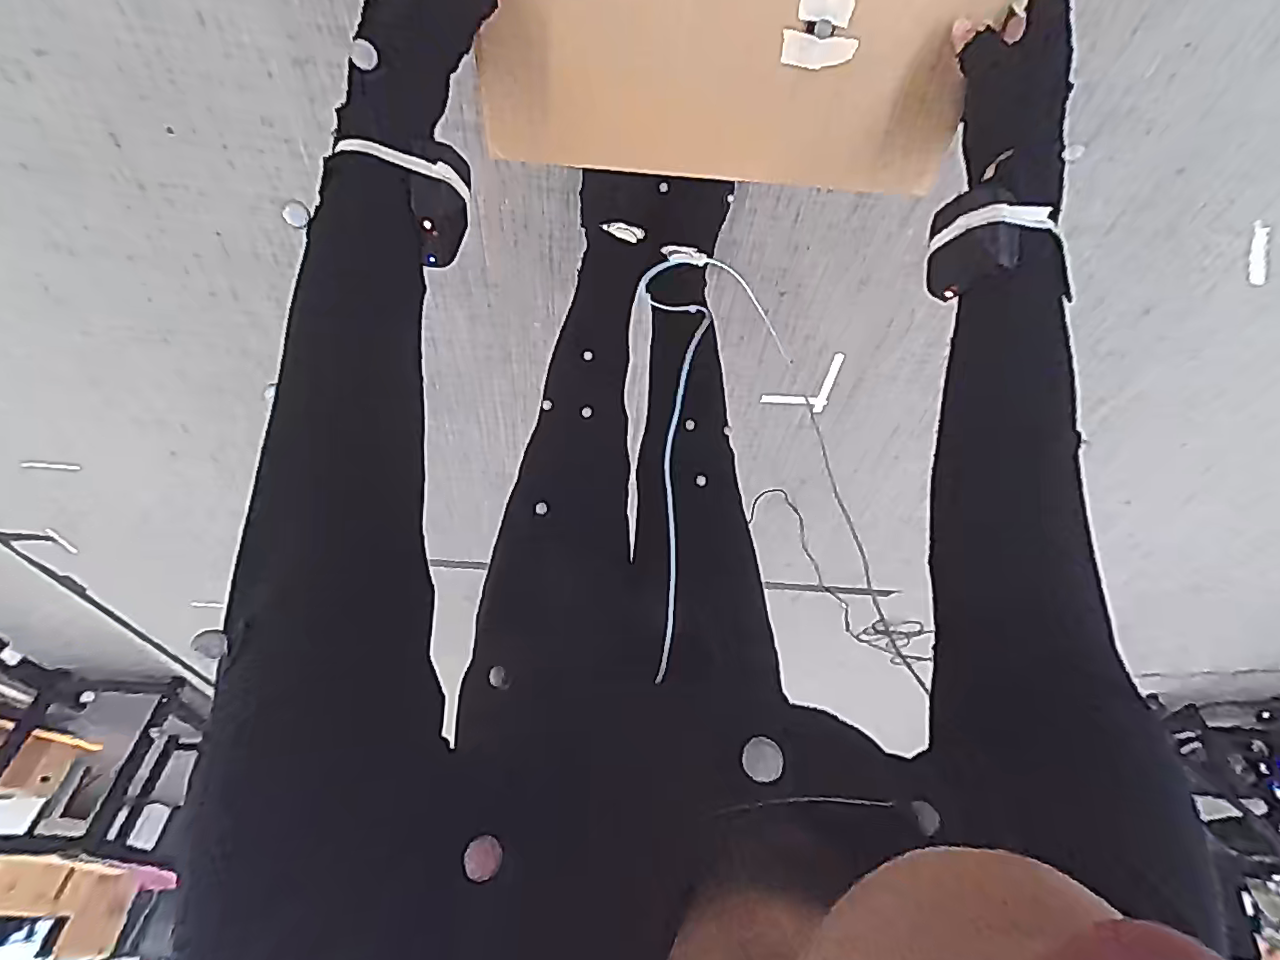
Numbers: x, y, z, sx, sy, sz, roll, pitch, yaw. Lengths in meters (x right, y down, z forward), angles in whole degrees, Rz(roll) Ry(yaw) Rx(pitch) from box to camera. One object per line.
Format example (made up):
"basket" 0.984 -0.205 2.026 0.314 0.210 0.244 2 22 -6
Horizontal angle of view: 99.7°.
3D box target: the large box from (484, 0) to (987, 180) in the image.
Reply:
"large box" 0.075 -0.508 0.503 0.408 0.320 0.320 3 137 -3
